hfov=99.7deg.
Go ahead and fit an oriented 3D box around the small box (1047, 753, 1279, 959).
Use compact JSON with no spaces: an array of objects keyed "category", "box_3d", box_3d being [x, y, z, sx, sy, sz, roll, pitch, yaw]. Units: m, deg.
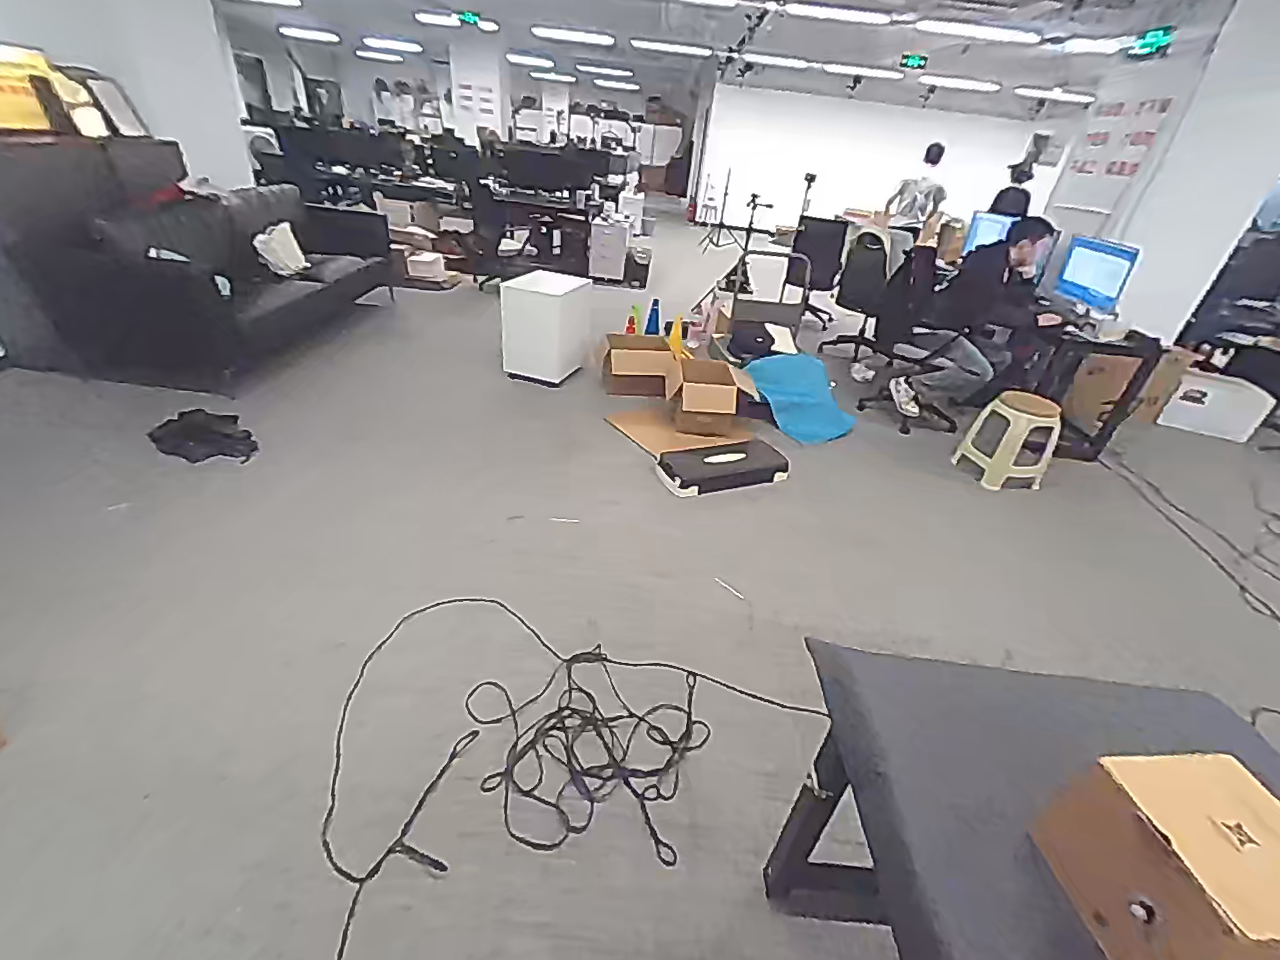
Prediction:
[{"category":"small box","box_3d":[0.587,0.418,0.578,0.179,0.176,0.168,4,33,-8]}]
